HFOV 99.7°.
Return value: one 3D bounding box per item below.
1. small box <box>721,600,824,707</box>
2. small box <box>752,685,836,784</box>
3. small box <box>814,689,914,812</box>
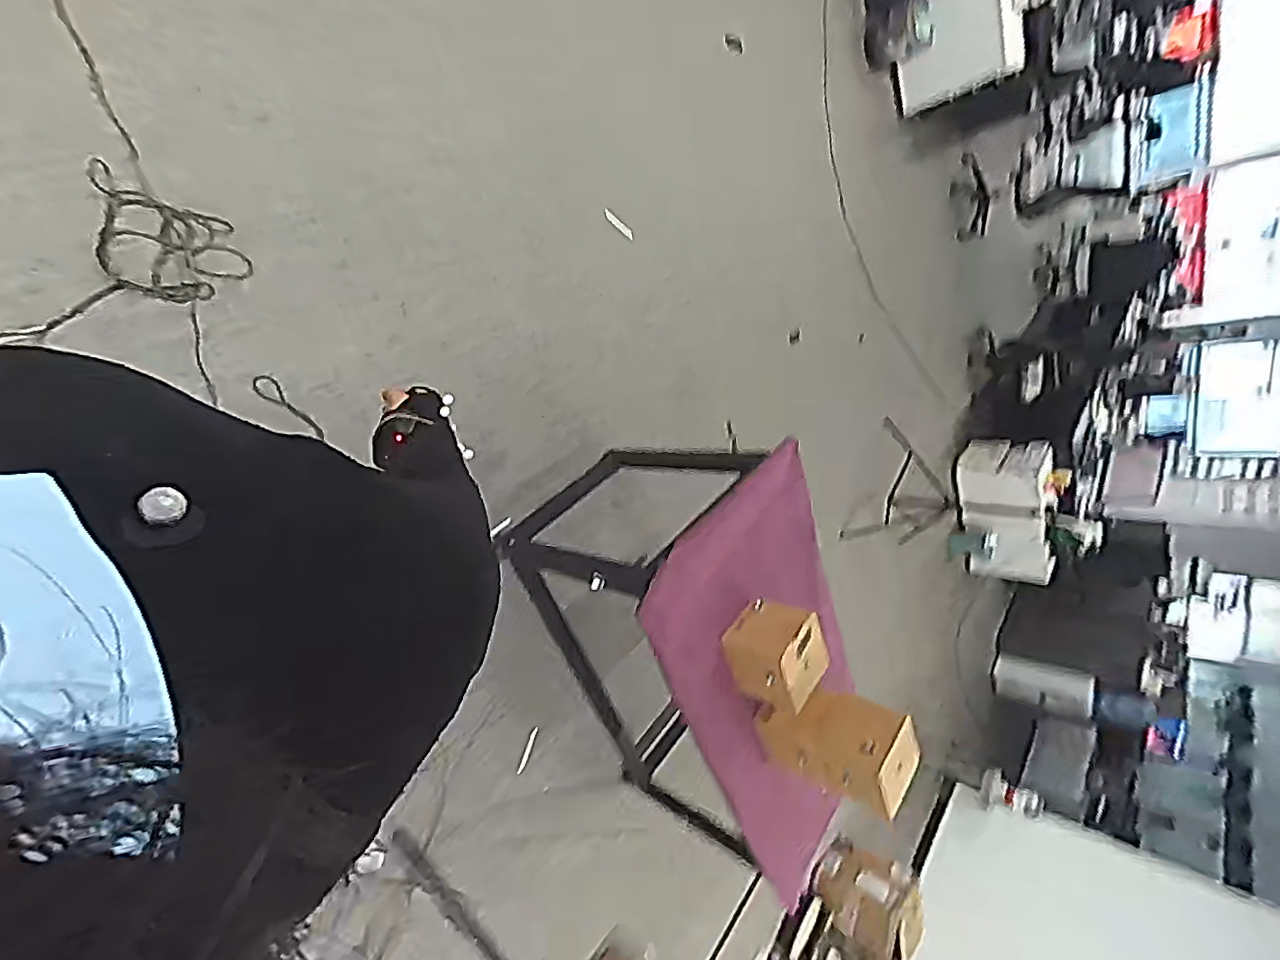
[{"bbox_3d":[0.323,0.412,1.323,0.168,0.176,0.179,-38,118,-34],"label":"small box"},{"bbox_3d":[0.425,0.652,1.439,0.168,0.176,0.179,-38,117,-35],"label":"small box"},{"bbox_3d":[0.540,0.651,1.320,0.179,0.176,0.168,-38,117,-35],"label":"small box"}]
